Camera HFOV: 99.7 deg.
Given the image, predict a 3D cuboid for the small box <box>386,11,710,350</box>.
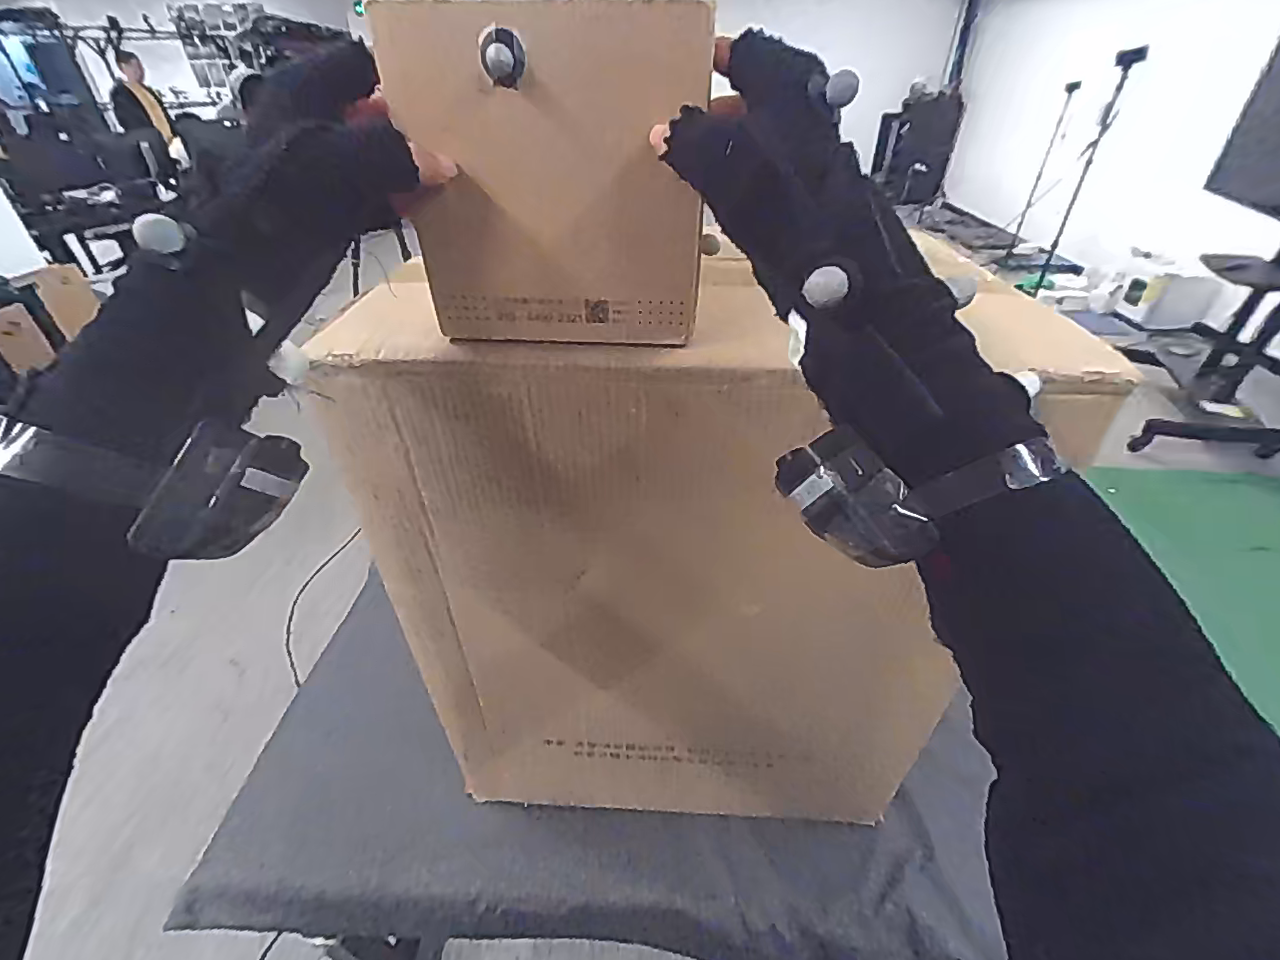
[{"bbox_3d":[-0.042,-0.206,0.377,0.168,0.176,0.179,3,37,3],"label":"small box"}]
